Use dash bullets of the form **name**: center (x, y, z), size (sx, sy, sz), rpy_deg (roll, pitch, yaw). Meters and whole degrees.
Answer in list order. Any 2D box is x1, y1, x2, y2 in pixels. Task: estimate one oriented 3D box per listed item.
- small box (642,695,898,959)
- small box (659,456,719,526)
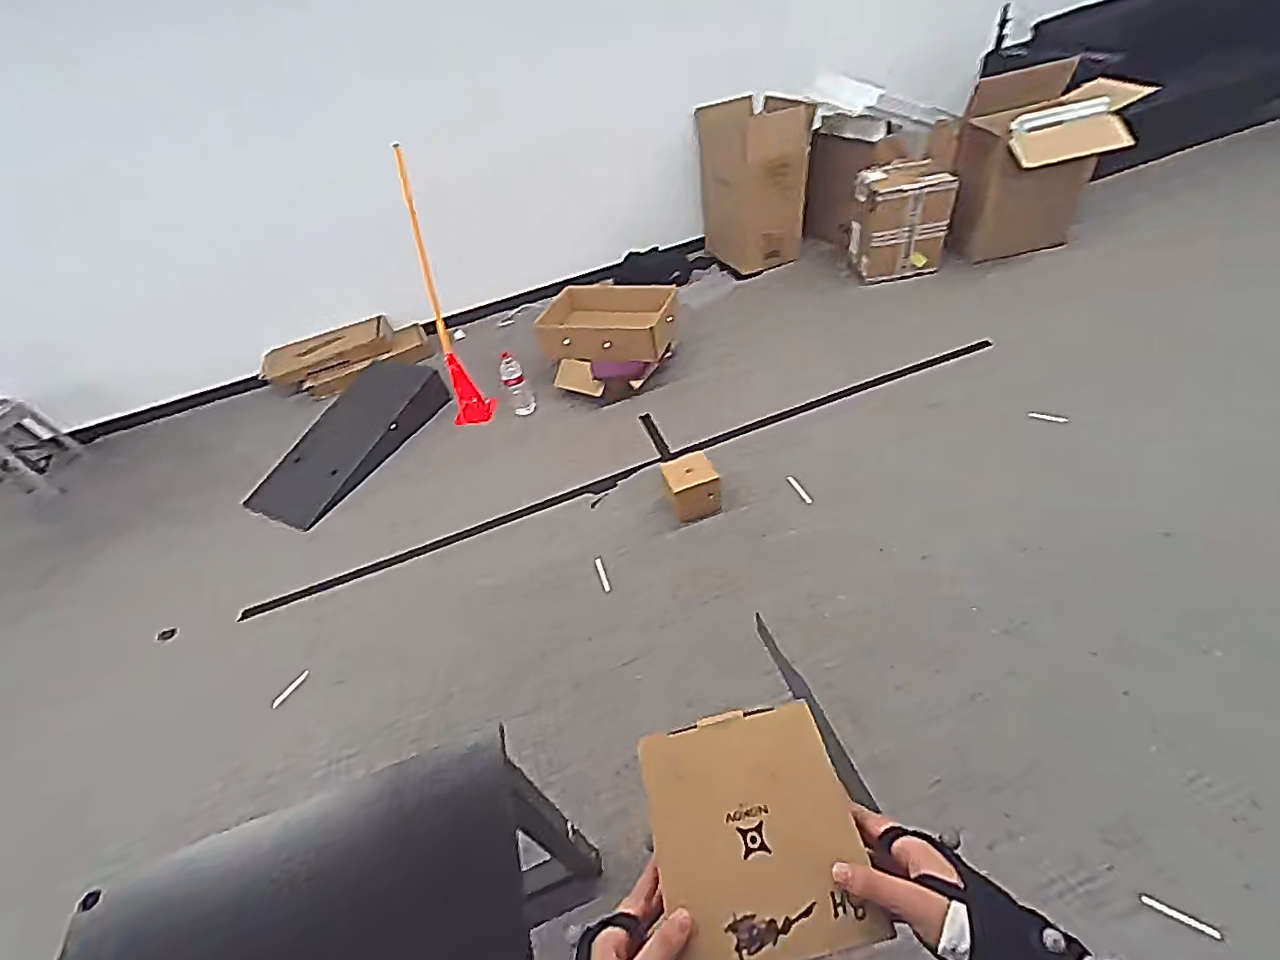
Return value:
- **small box**: center (0.105, 0.333, 0.506), size (0.168, 0.176, 0.179), rpy_deg (-14, 47, -1)
- **small box**: center (0.189, 0.043, 2.027), size (0.179, 0.176, 0.168), rpy_deg (-21, 42, -7)
